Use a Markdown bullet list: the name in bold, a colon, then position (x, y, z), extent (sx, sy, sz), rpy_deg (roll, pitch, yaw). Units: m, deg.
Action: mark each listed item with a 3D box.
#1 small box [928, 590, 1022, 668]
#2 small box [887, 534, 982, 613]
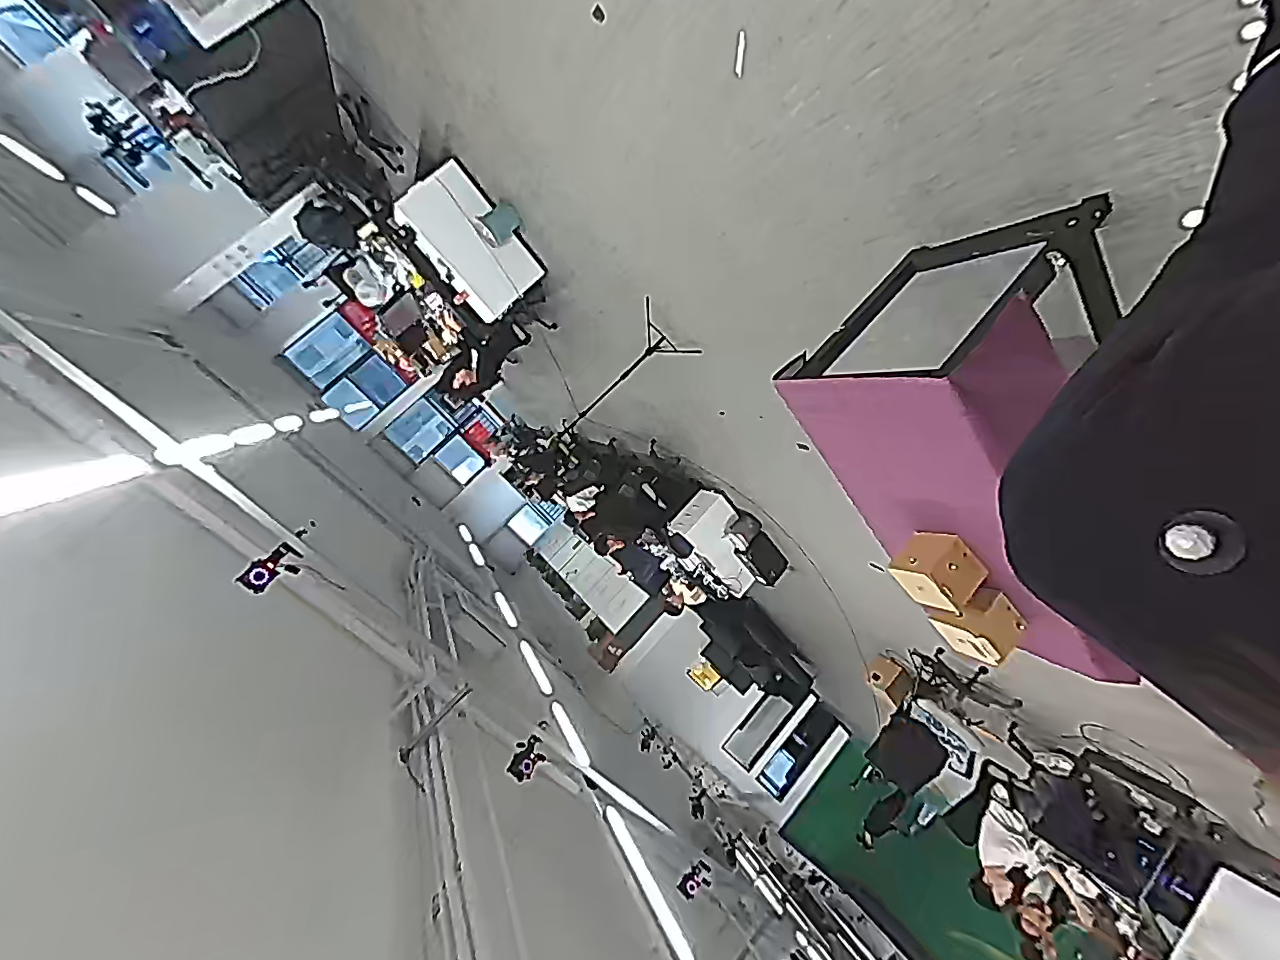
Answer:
- **small box**: position (1.089, 0.466, 1.747), extent (0.168, 0.176, 0.179), rpy_deg (47, 169, -11)
- **small box**: position (0.925, 0.285, 1.688), extent (0.168, 0.176, 0.179), rpy_deg (47, 168, -10)
